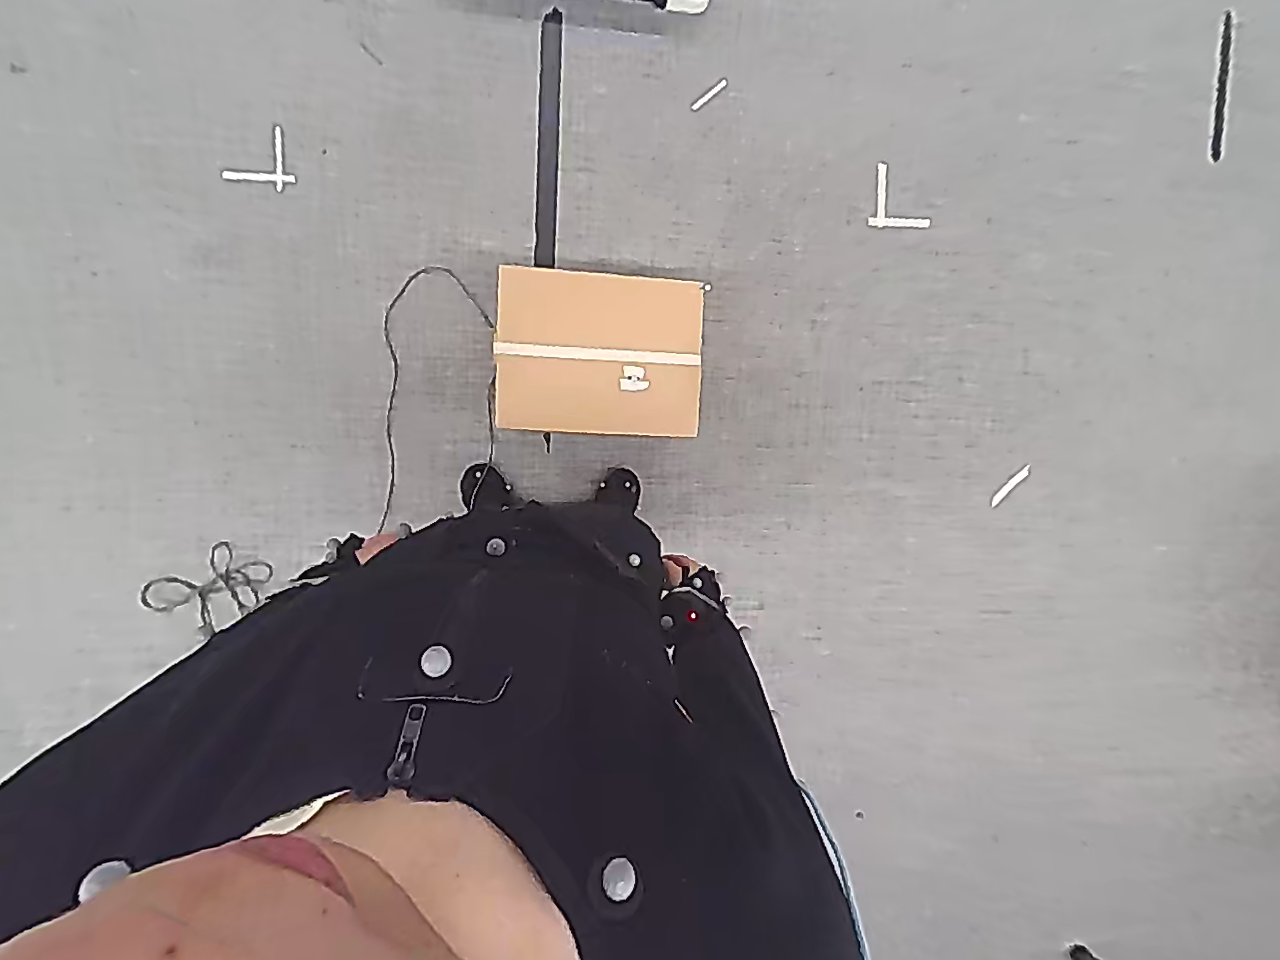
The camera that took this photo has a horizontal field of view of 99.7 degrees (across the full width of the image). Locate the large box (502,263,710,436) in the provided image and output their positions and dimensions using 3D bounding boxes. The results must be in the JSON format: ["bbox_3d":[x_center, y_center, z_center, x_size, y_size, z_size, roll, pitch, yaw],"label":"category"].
[{"bbox_3d":[-0.086,-0.258,1.188,0.408,0.320,0.320,2,95,-8],"label":"large box"}]
